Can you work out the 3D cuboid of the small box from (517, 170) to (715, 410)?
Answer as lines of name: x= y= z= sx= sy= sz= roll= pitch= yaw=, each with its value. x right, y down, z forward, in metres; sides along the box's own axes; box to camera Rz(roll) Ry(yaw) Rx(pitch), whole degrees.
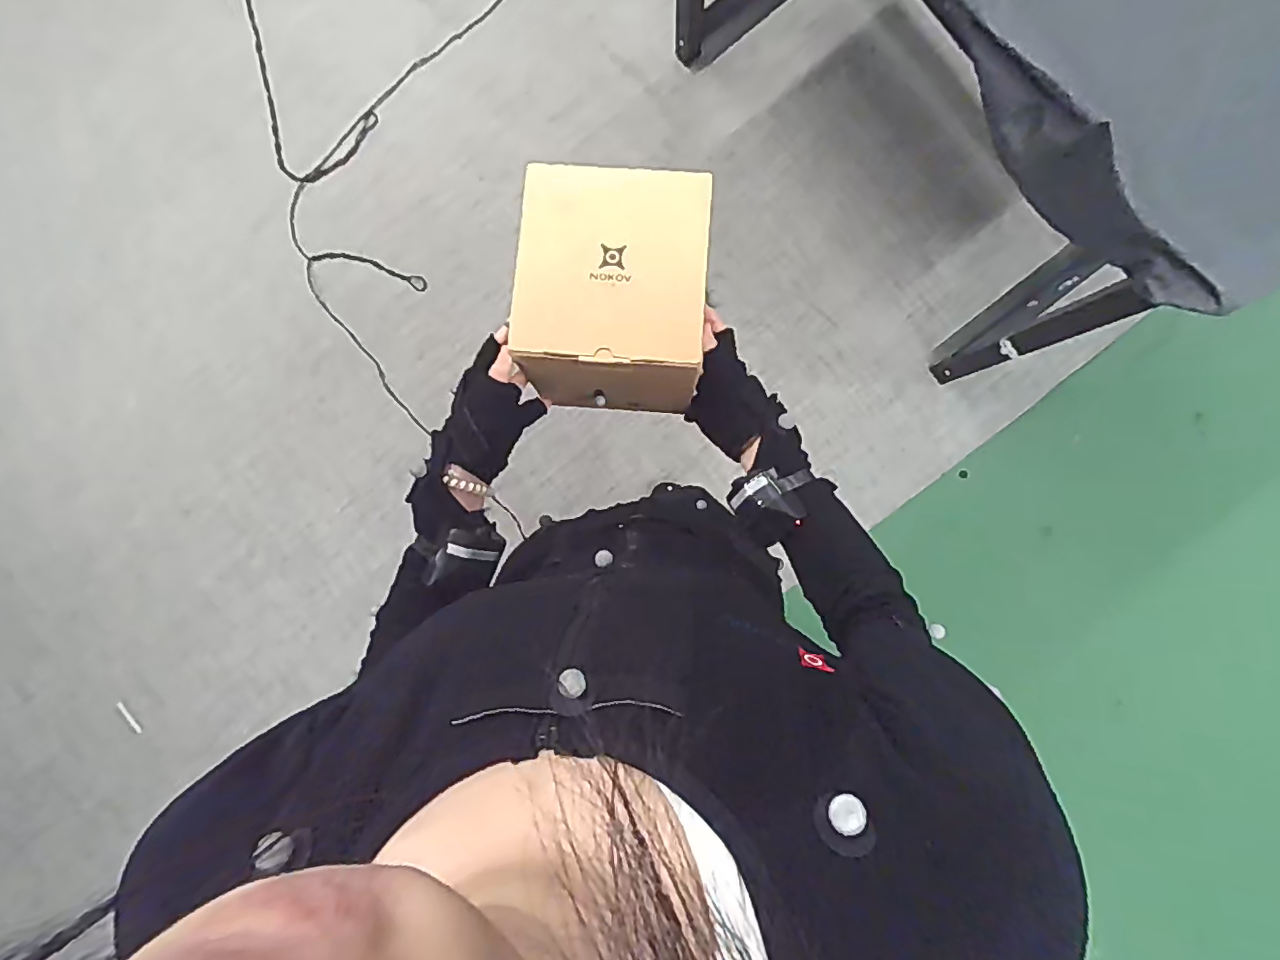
small box: x=-0.020 y=-0.181 z=0.559 sx=0.168 sy=0.176 sz=0.179 roll=4 pitch=85 yaw=1
